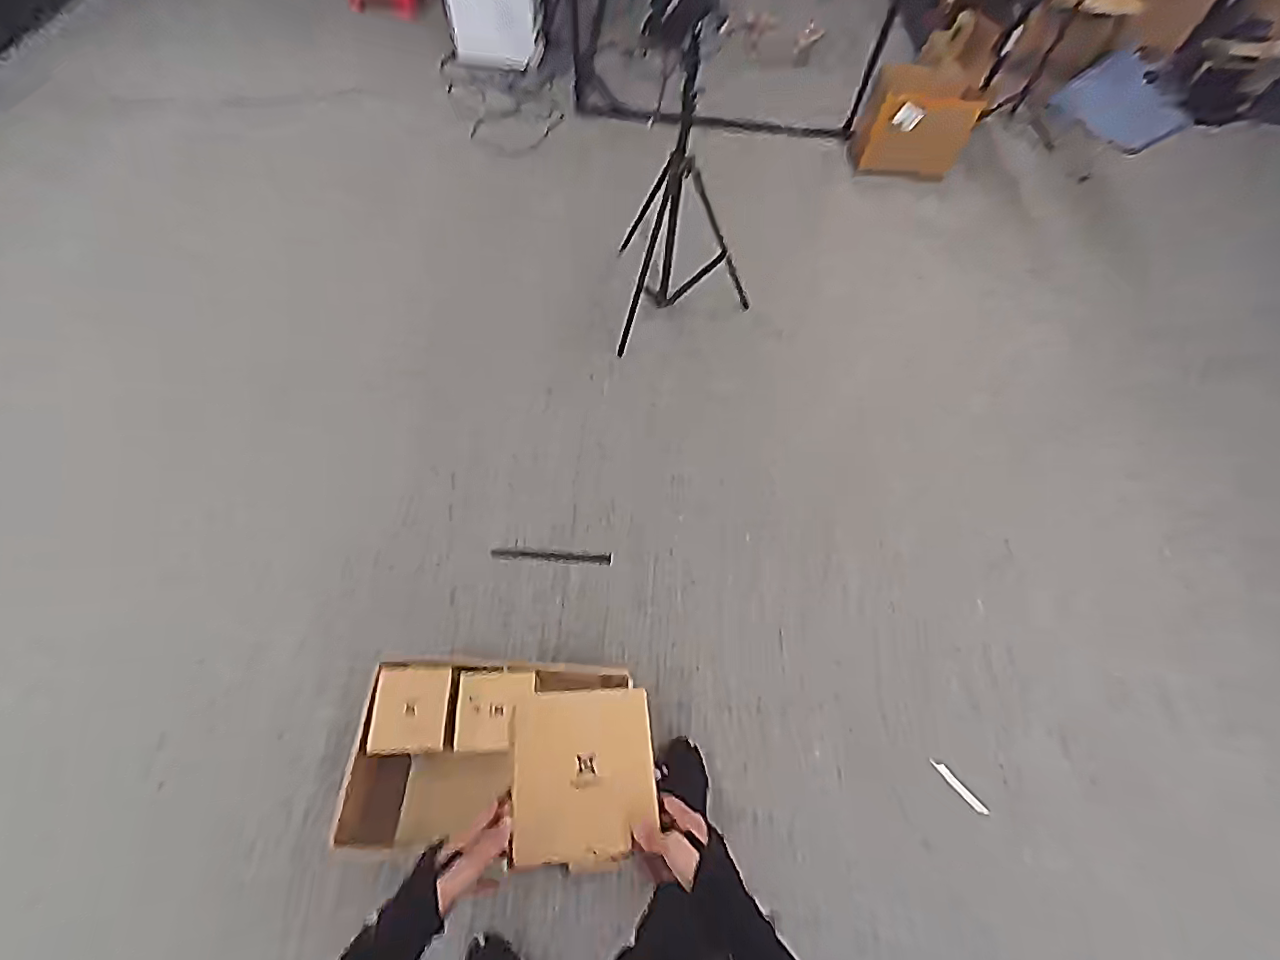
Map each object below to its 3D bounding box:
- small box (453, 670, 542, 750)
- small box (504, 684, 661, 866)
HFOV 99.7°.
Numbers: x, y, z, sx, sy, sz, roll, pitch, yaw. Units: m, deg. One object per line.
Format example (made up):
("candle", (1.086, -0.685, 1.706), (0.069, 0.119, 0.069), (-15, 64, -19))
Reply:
("small box", (-0.331, 0.551, 1.292), (0.179, 0.176, 0.168), (0, 62, -5))
("small box", (-0.083, 0.373, 0.684), (0.168, 0.176, 0.179), (2, 55, -15))
